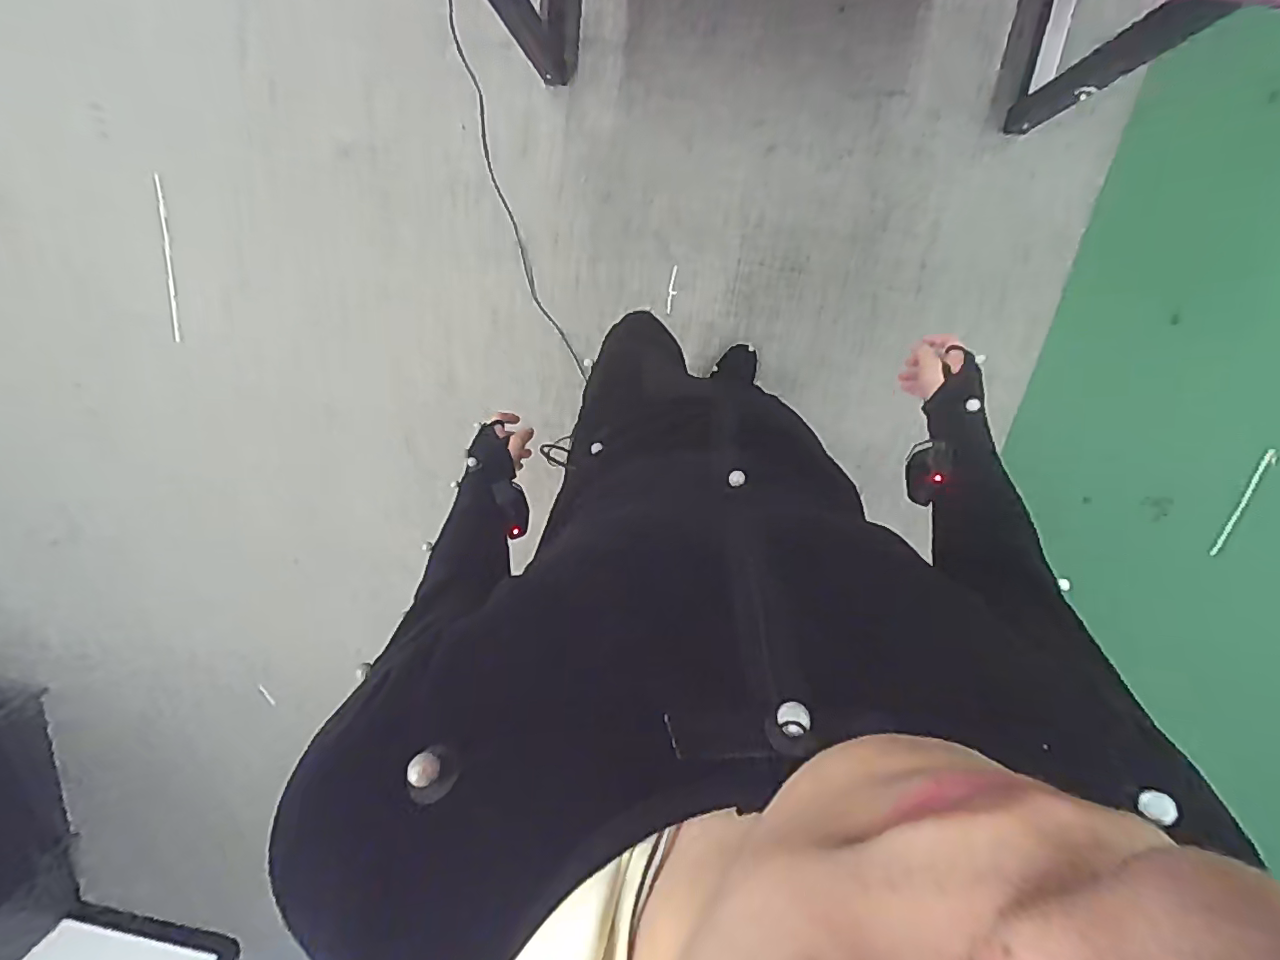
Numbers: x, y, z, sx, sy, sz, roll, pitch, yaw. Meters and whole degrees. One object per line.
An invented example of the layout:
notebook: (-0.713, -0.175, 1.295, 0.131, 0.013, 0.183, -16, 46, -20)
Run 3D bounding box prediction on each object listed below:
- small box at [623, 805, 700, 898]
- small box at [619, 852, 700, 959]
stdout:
small box: (0.066, 1.056, 1.519, 0.179, 0.176, 0.168, 15, 108, 3)
small box: (0.055, 1.093, 1.360, 0.168, 0.176, 0.179, 14, 108, 3)
